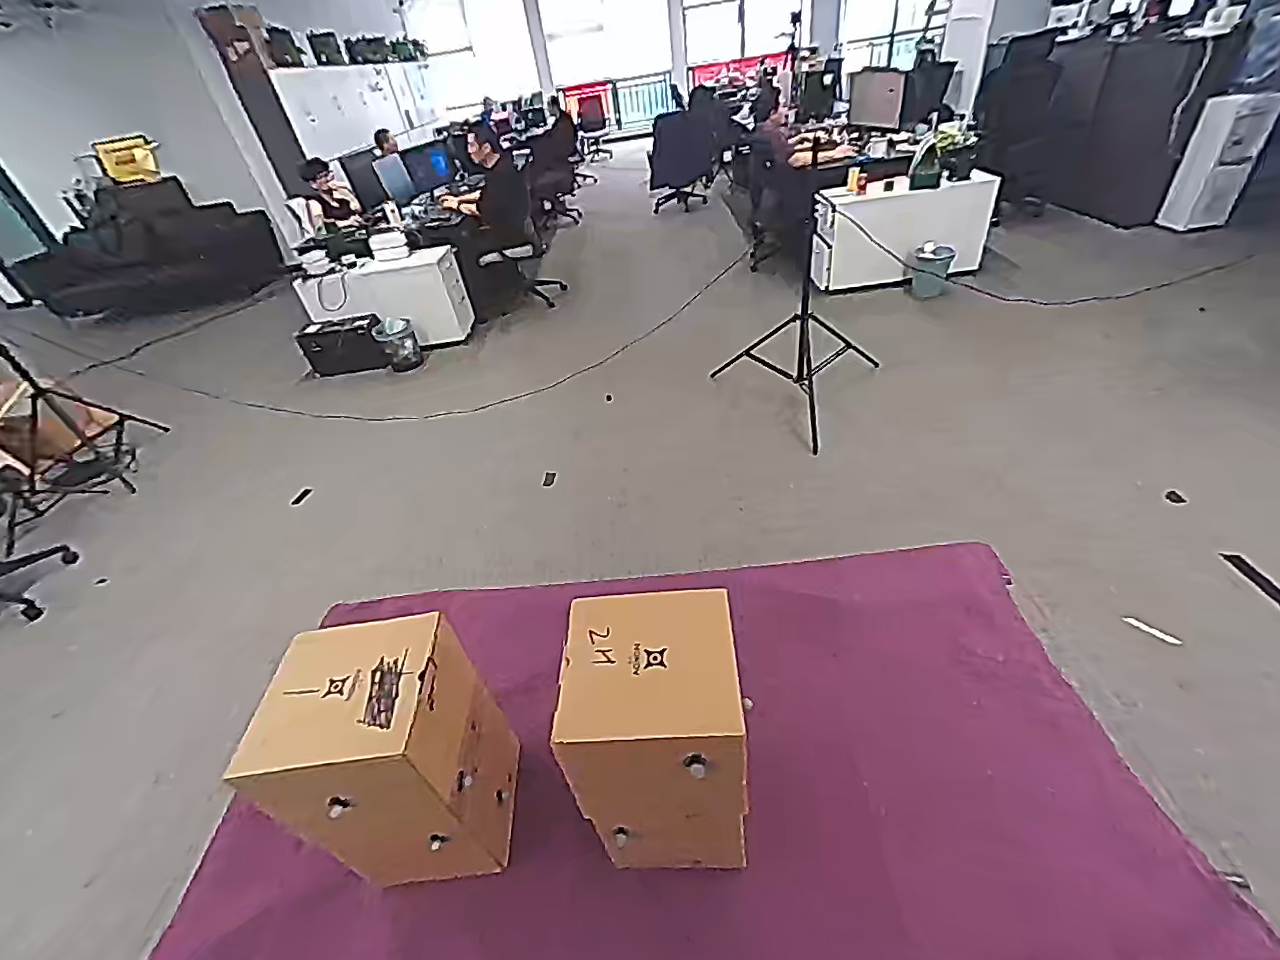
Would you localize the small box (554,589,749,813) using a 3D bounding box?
[{"bbox_3d":[0.021,0.240,0.588,0.179,0.176,0.168,-5,37,6],"label":"small box"}]

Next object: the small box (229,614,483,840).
[{"bbox_3d":[-0.293,0.278,0.611,0.179,0.176,0.168,-9,38,1],"label":"small box"}]

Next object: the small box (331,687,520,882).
[{"bbox_3d":[-0.274,0.404,0.716,0.179,0.176,0.168,-8,38,1],"label":"small box"}]
